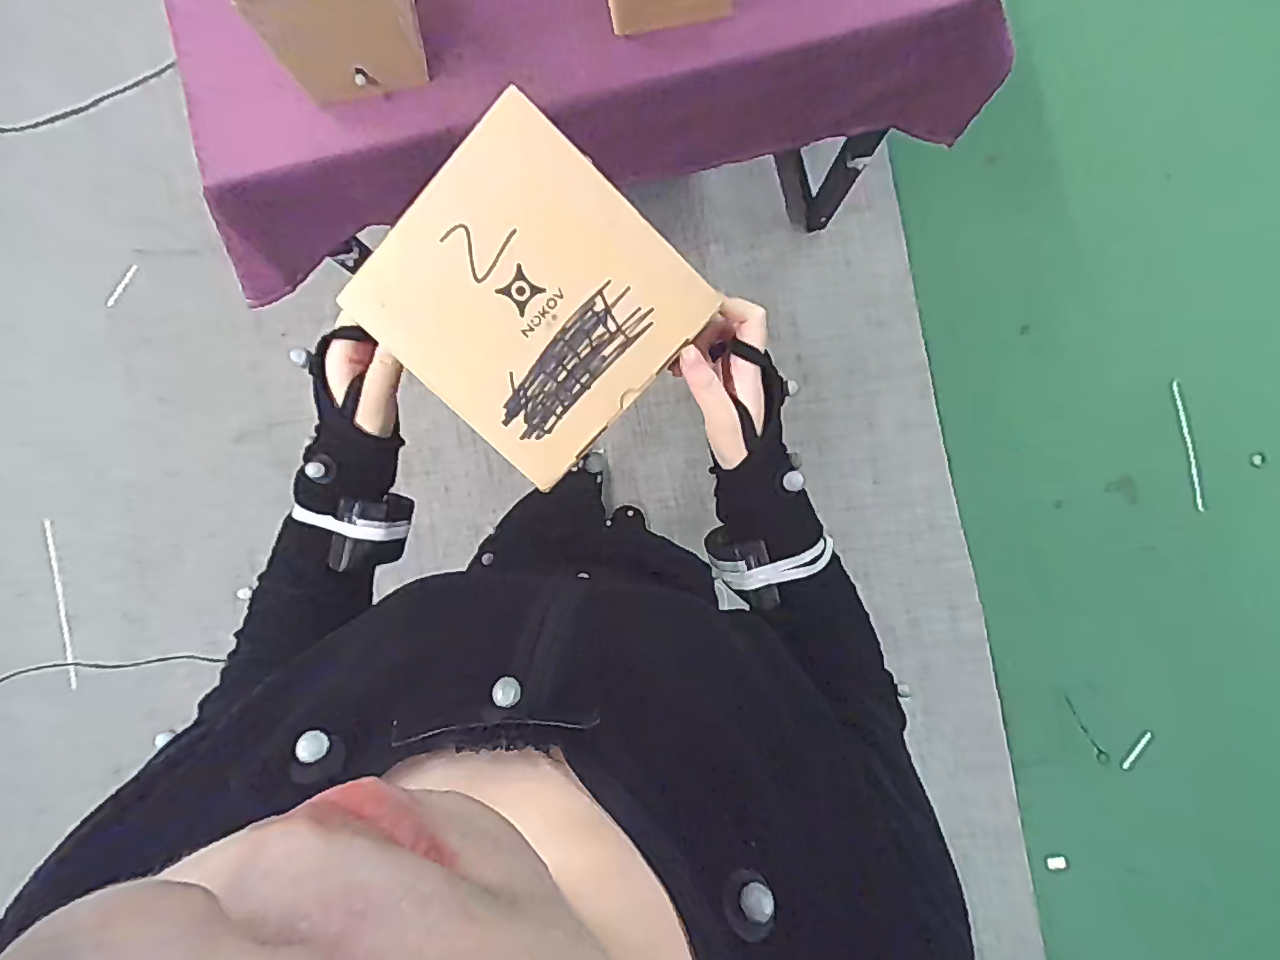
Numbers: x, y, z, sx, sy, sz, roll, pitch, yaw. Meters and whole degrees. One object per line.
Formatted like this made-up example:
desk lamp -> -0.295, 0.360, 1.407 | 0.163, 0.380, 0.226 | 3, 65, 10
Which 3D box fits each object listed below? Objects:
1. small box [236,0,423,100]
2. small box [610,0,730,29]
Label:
small box -> -0.409, -0.656, 0.724 | 0.179, 0.176, 0.168 | -11, 88, 0
small box -> 0.033, -0.753, 0.721 | 0.179, 0.176, 0.168 | -10, 88, 0
